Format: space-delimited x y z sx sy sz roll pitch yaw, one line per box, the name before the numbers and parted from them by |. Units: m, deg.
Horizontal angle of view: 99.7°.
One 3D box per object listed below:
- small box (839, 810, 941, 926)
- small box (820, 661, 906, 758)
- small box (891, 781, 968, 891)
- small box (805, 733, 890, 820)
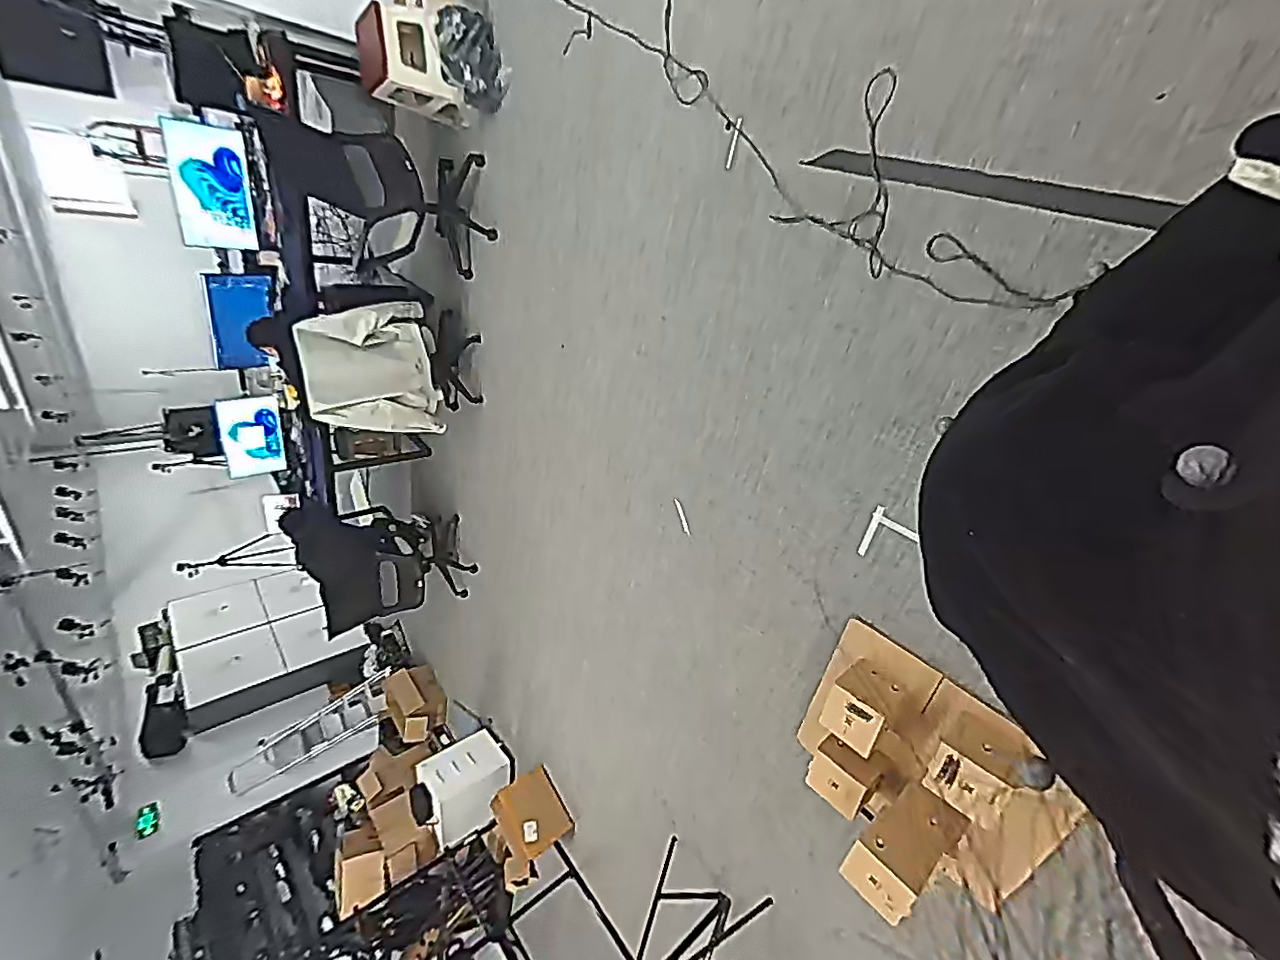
small box | 0.692 1.060 1.499 0.179 0.176 0.168 34 127 38
small box | 0.684 0.691 1.651 0.168 0.176 0.179 31 124 39
small box | 0.830 1.037 1.591 0.179 0.176 0.168 30 122 39
small box | 0.670 0.935 1.747 0.179 0.176 0.168 30 124 39
